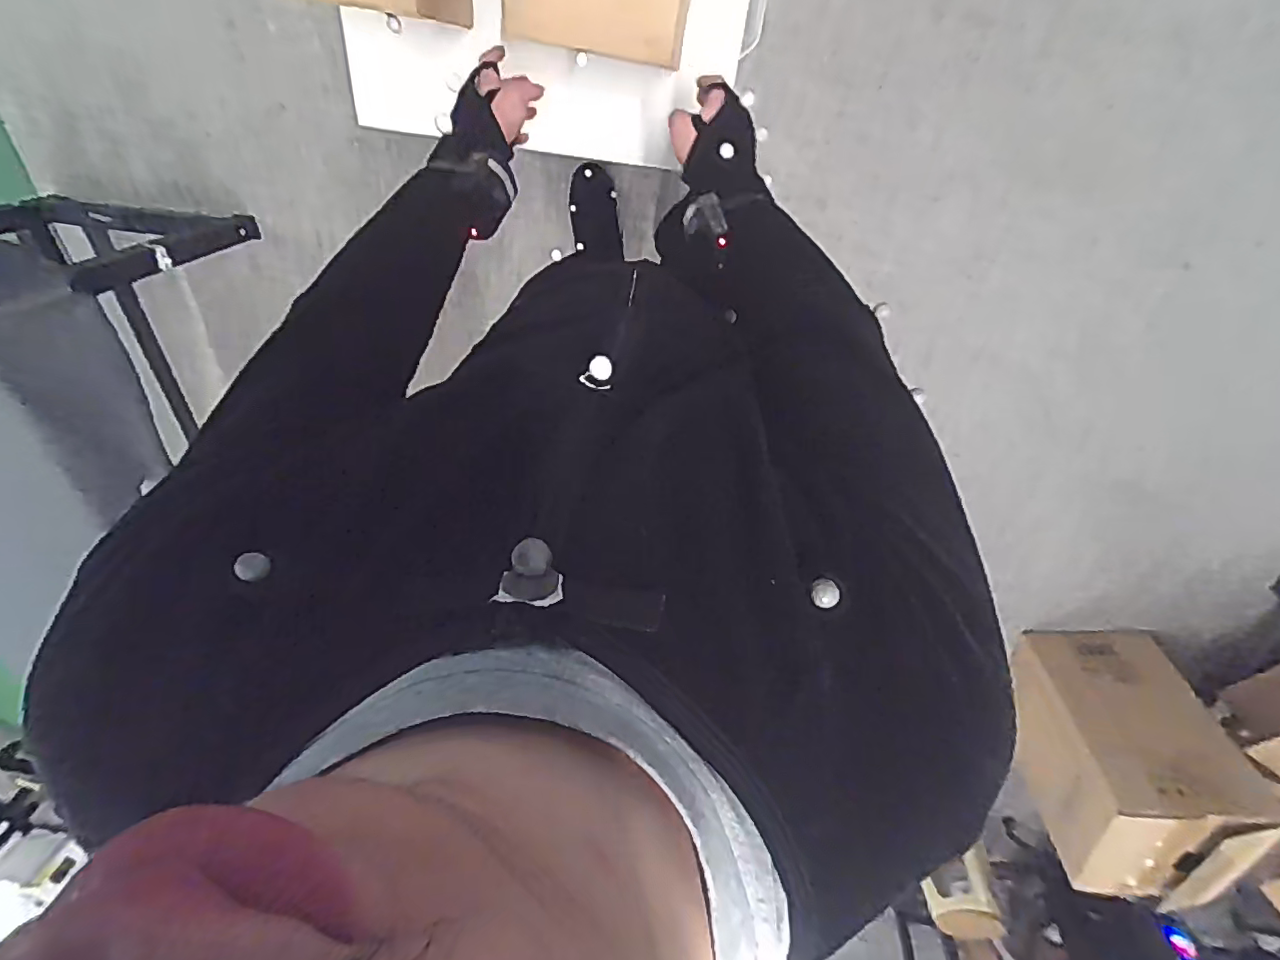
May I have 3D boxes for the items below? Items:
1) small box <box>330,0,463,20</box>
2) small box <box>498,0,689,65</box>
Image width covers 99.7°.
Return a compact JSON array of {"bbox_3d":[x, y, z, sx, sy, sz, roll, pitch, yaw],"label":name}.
[{"bbox_3d":[-0.290,-0.594,0.555,0.179,0.176,0.168,9,127,-1],"label":"small box"},{"bbox_3d":[-0.035,-0.544,0.556,0.179,0.176,0.168,11,128,-1],"label":"small box"}]
